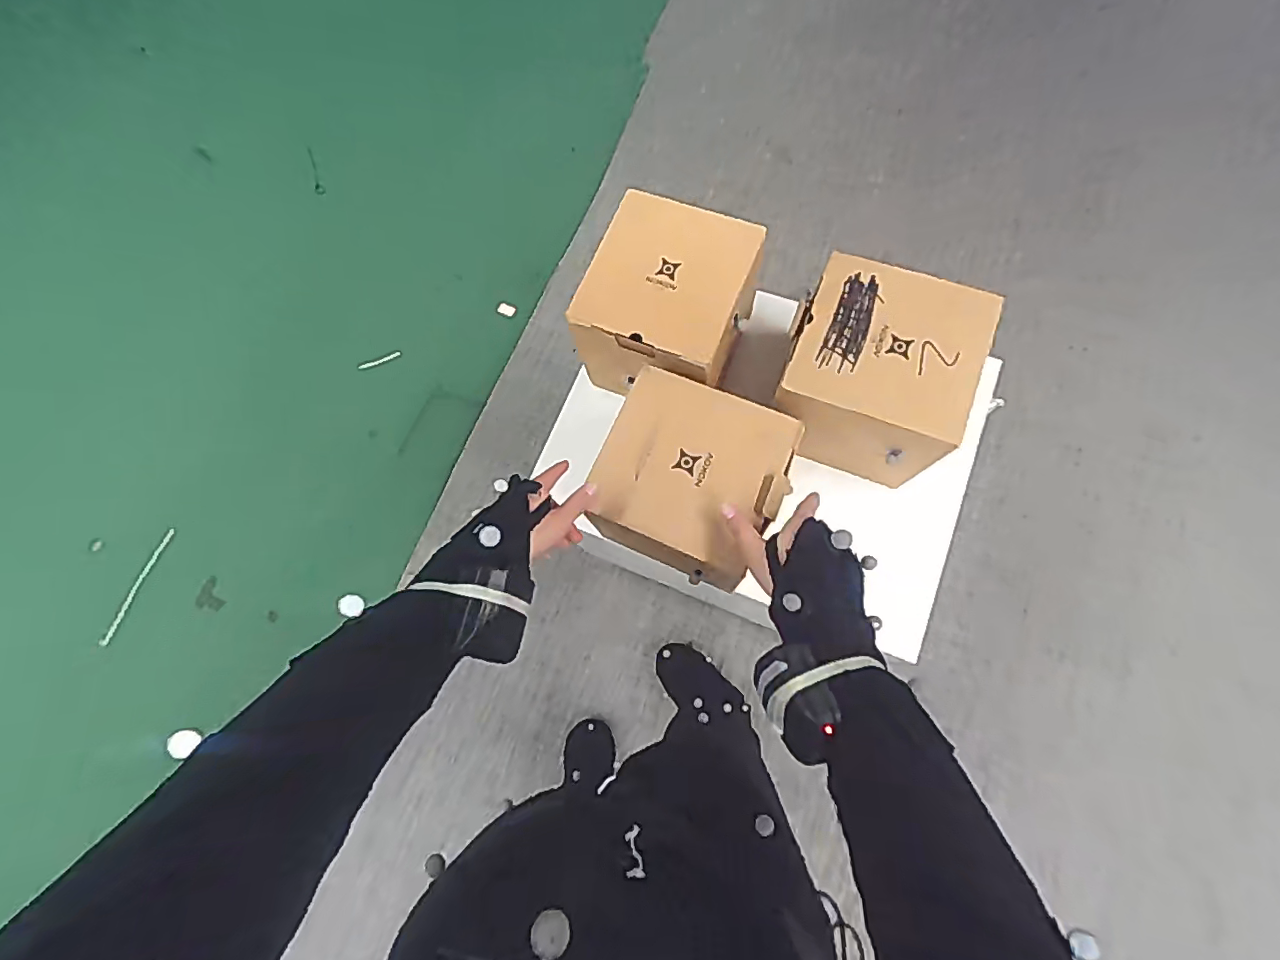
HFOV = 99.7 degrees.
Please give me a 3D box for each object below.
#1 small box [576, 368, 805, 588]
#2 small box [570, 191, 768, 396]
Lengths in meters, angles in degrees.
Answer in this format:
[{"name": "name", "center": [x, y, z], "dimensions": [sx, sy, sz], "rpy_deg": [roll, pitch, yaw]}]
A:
[{"name": "small box", "center": [0.057, 0.010, 0.594], "dimensions": [0.179, 0.176, 0.168], "rpy_deg": [22, 76, 12]}, {"name": "small box", "center": [0.036, -0.198, 0.653], "dimensions": [0.168, 0.176, 0.179], "rpy_deg": [21, 79, 10]}]
